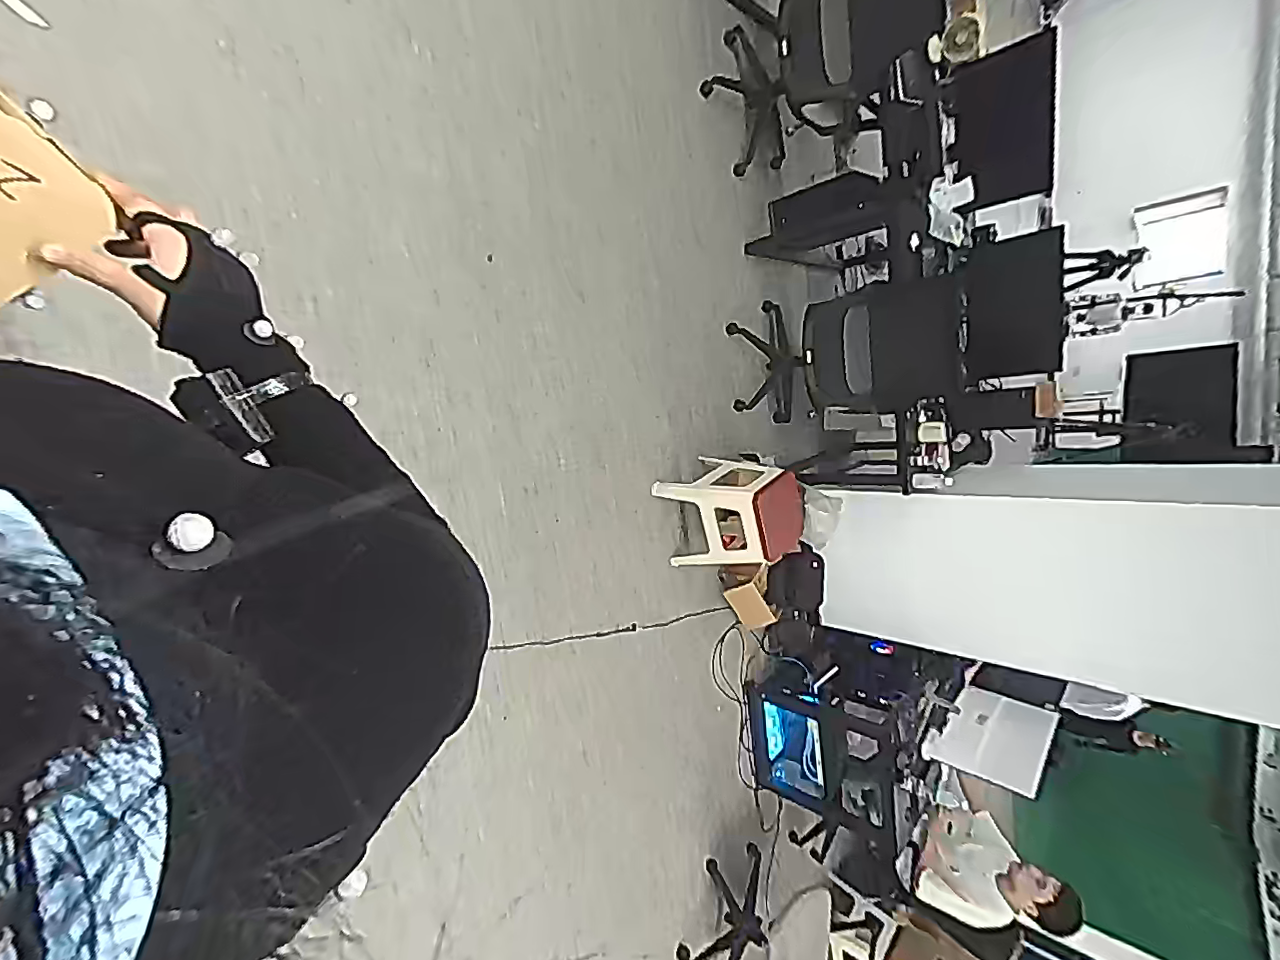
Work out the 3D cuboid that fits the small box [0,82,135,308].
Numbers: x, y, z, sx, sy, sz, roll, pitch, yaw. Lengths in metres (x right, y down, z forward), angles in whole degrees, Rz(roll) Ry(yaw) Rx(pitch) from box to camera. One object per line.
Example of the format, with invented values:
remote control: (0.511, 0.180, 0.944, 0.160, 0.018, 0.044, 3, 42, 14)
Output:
small box: (-0.519, -0.216, 0.386, 0.179, 0.176, 0.168, -47, 137, -16)
